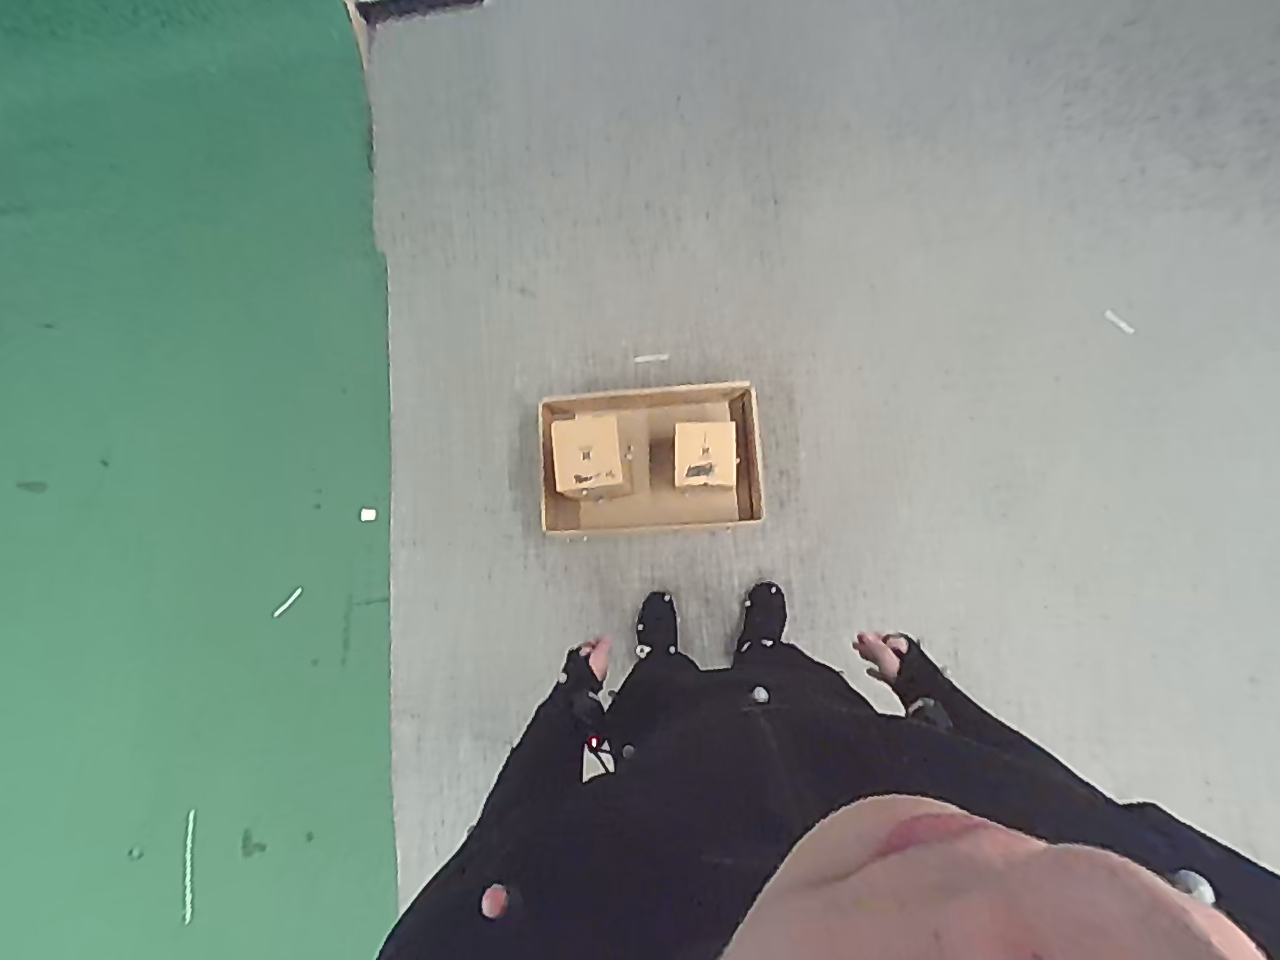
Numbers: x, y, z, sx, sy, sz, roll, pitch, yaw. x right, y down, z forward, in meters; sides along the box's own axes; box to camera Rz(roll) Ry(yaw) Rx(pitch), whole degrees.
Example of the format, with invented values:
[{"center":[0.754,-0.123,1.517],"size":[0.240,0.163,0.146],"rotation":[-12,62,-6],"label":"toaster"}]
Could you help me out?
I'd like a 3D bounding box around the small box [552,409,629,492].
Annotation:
[{"center":[-0.124,-0.070,1.398],"size":[0.168,0.176,0.179],"rotation":[-6,82,4],"label":"small box"}]
